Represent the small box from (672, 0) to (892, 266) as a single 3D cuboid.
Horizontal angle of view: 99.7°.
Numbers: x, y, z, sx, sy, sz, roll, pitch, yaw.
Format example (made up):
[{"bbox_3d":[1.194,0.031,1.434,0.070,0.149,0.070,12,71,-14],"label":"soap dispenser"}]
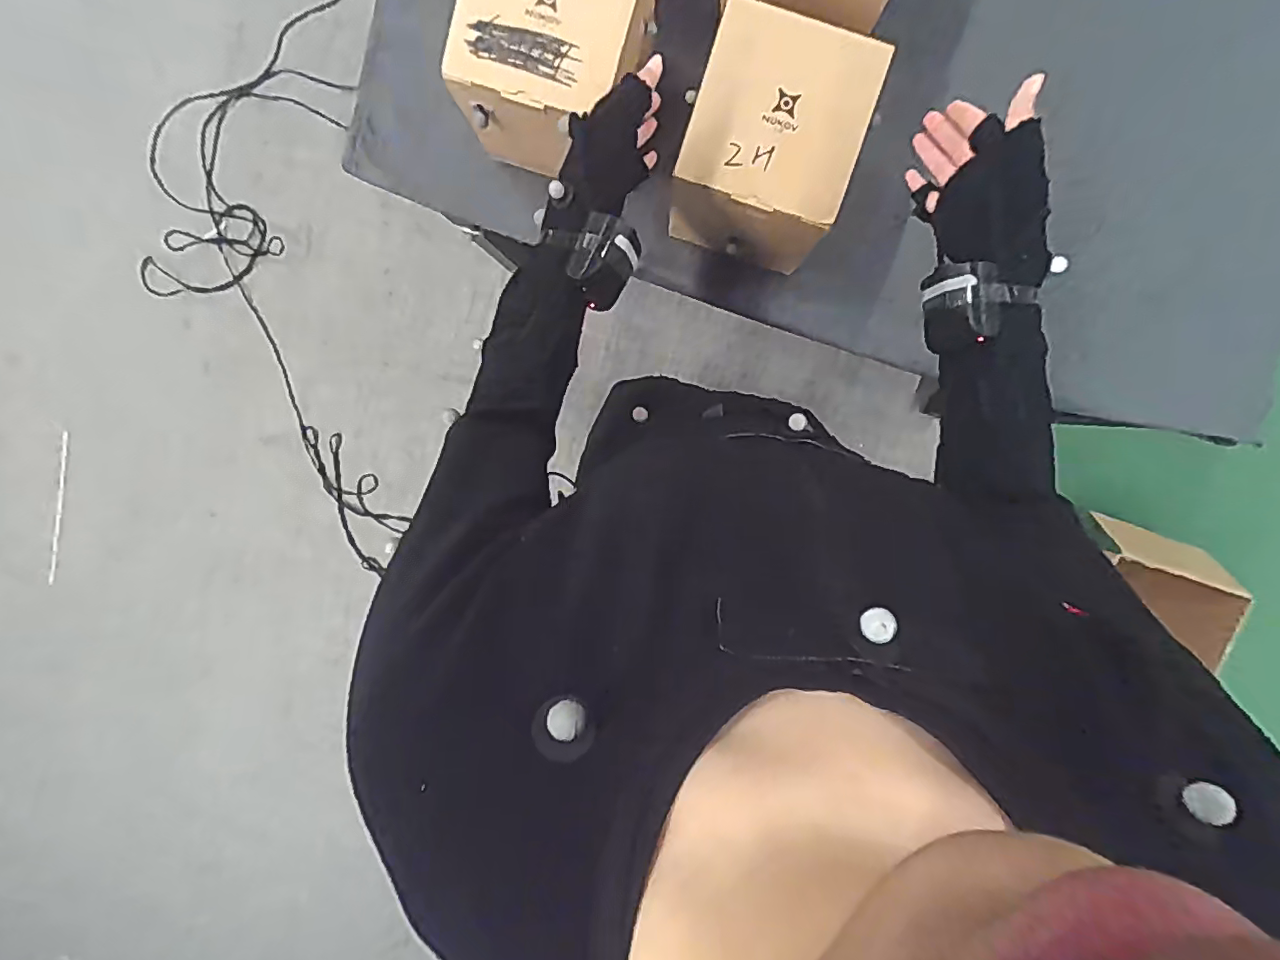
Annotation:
[{"bbox_3d":[0.136,-0.364,0.594,0.168,0.176,0.179,18,97,0],"label":"small box"}]
